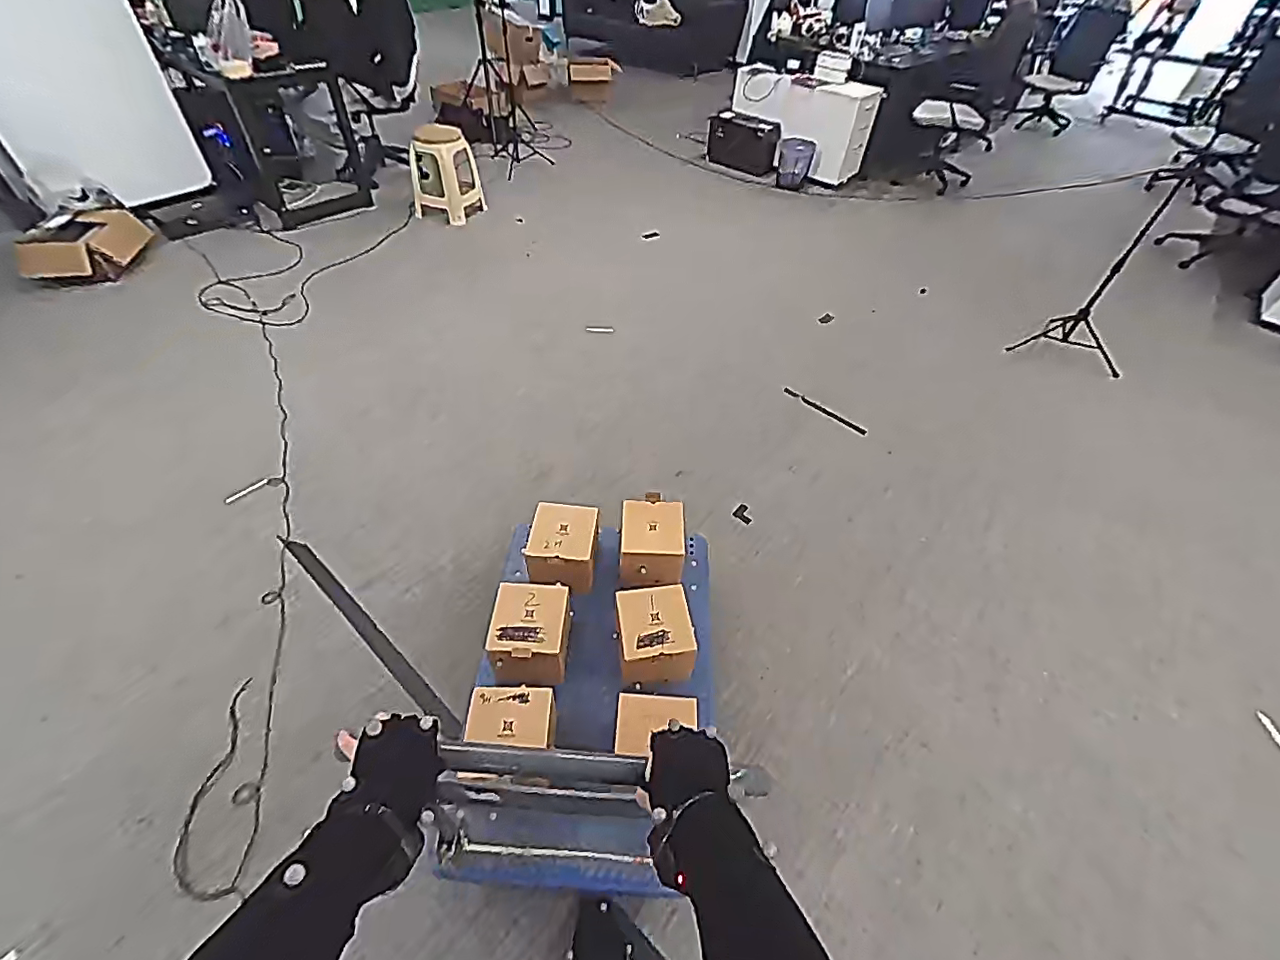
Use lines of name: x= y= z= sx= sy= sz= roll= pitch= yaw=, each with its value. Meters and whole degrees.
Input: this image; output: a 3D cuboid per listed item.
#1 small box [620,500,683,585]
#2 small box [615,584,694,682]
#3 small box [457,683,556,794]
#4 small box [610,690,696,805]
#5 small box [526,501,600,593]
small box: x=0.029 y=0.176 z=1.500 sx=0.168 sy=0.176 sz=0.179 roll=2 pitch=48 yaw=-2
small box: x=0.029 y=0.378 z=1.316 sx=0.168 sy=0.176 sz=0.179 roll=-4 pitch=47 yaw=-8
small box: x=-0.270 y=0.548 z=1.139 sx=0.168 sy=0.176 sz=0.179 roll=3 pitch=48 yaw=-3
small box: x=0.027 y=0.569 z=1.143 sx=0.168 sy=0.176 sz=0.179 roll=5 pitch=47 yaw=0
small box: x=-0.204 y=0.183 z=1.474 sx=0.168 sy=0.176 sz=0.179 roll=6 pitch=49 yaw=1
